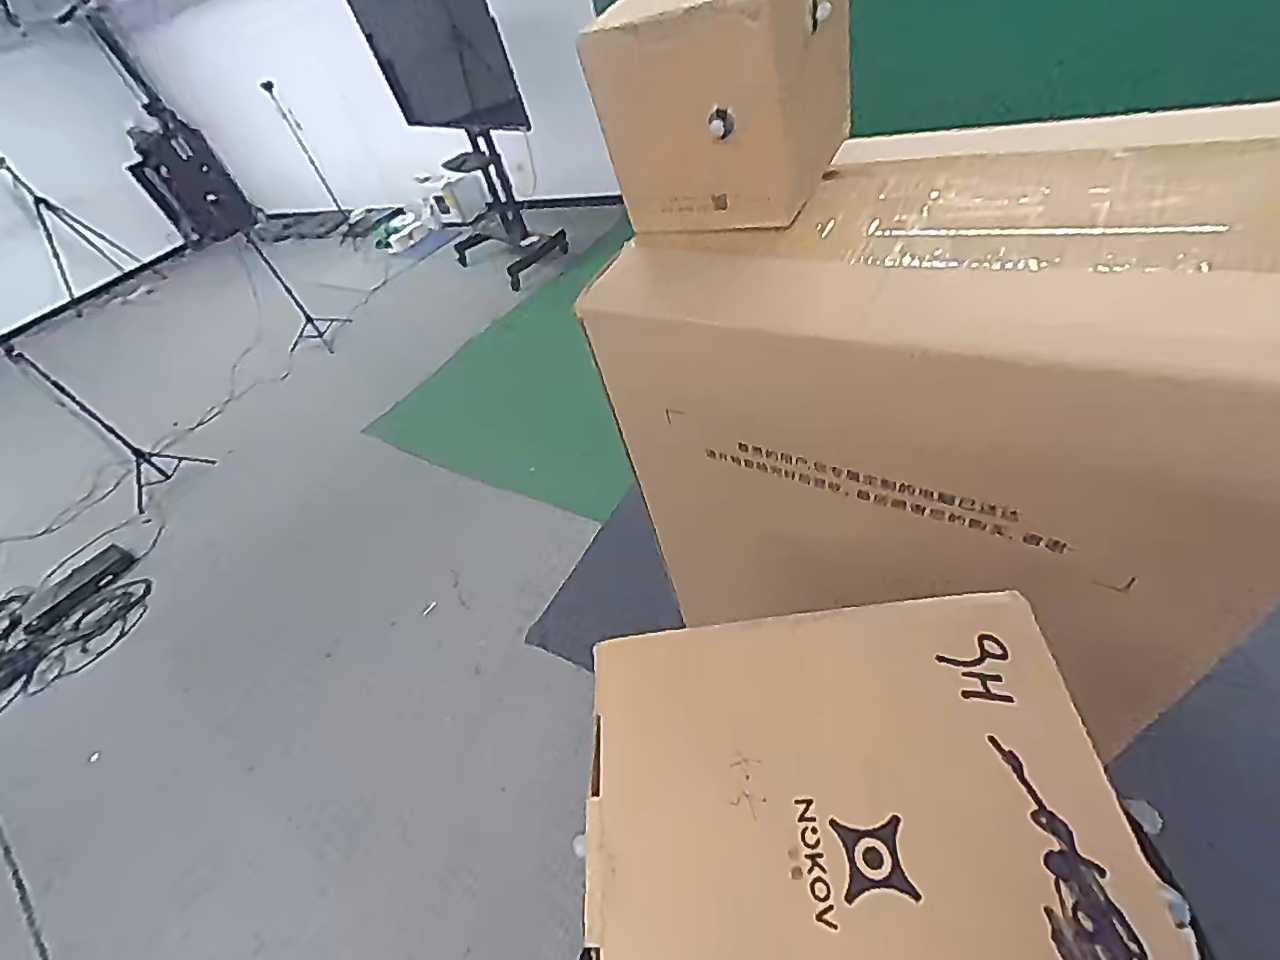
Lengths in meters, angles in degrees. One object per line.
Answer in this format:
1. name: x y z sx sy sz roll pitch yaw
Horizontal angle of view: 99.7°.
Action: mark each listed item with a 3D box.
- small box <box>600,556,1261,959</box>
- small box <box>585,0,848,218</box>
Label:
1. small box: 0.090 0.150 0.234 0.179 0.176 0.168 -9 57 10
2. small box: 0.084 -0.354 0.486 0.168 0.176 0.179 15 55 30
